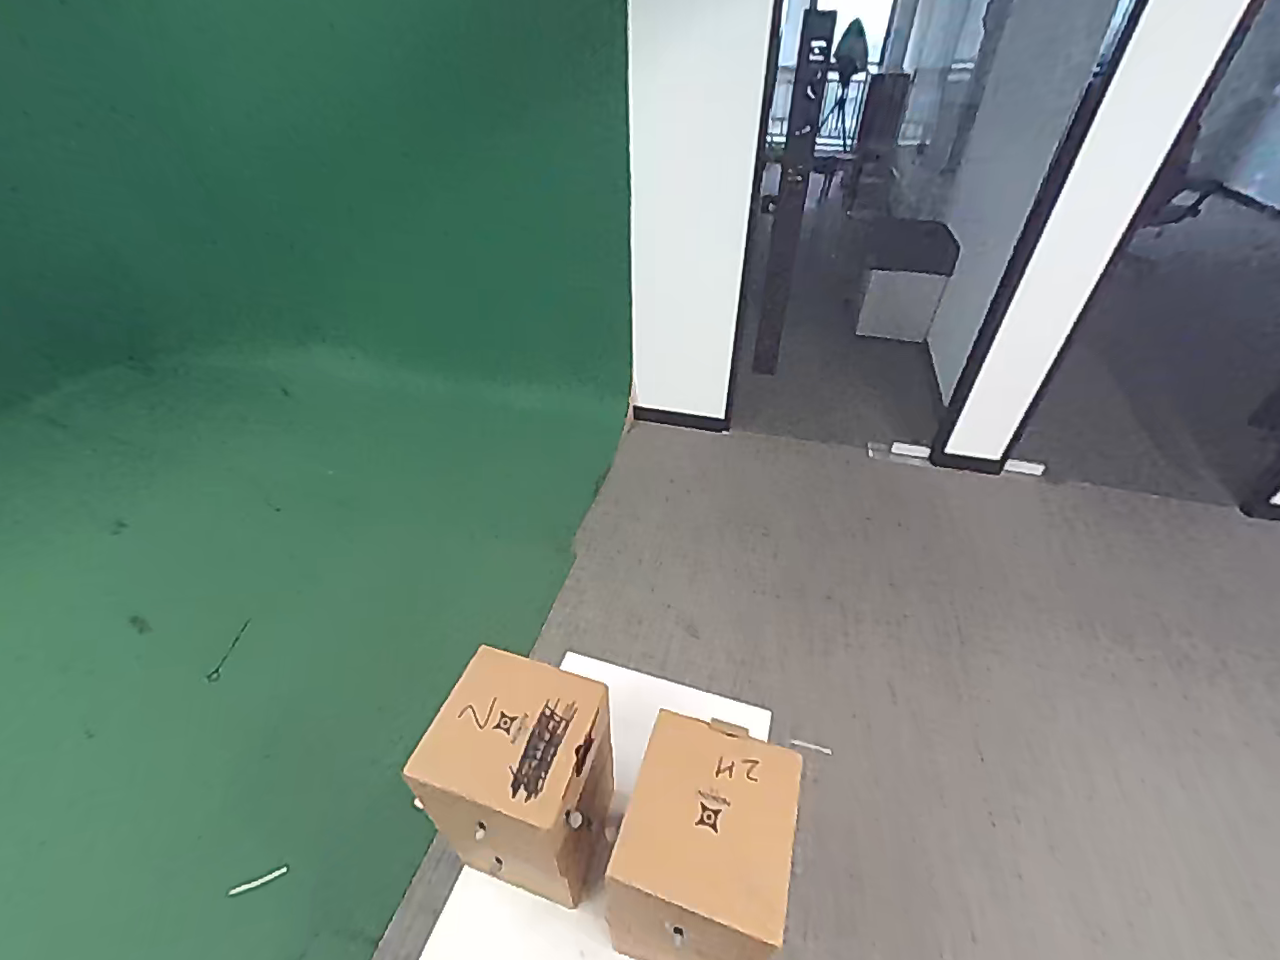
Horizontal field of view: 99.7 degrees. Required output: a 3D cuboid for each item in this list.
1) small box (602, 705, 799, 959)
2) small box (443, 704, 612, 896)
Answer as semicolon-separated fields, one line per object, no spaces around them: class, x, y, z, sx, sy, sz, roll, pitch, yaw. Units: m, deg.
small box;0.069;0.392;0.600;0.168;0.176;0.179;13;42;14
small box;-0.147;0.459;0.774;0.179;0.176;0.168;13;43;12
